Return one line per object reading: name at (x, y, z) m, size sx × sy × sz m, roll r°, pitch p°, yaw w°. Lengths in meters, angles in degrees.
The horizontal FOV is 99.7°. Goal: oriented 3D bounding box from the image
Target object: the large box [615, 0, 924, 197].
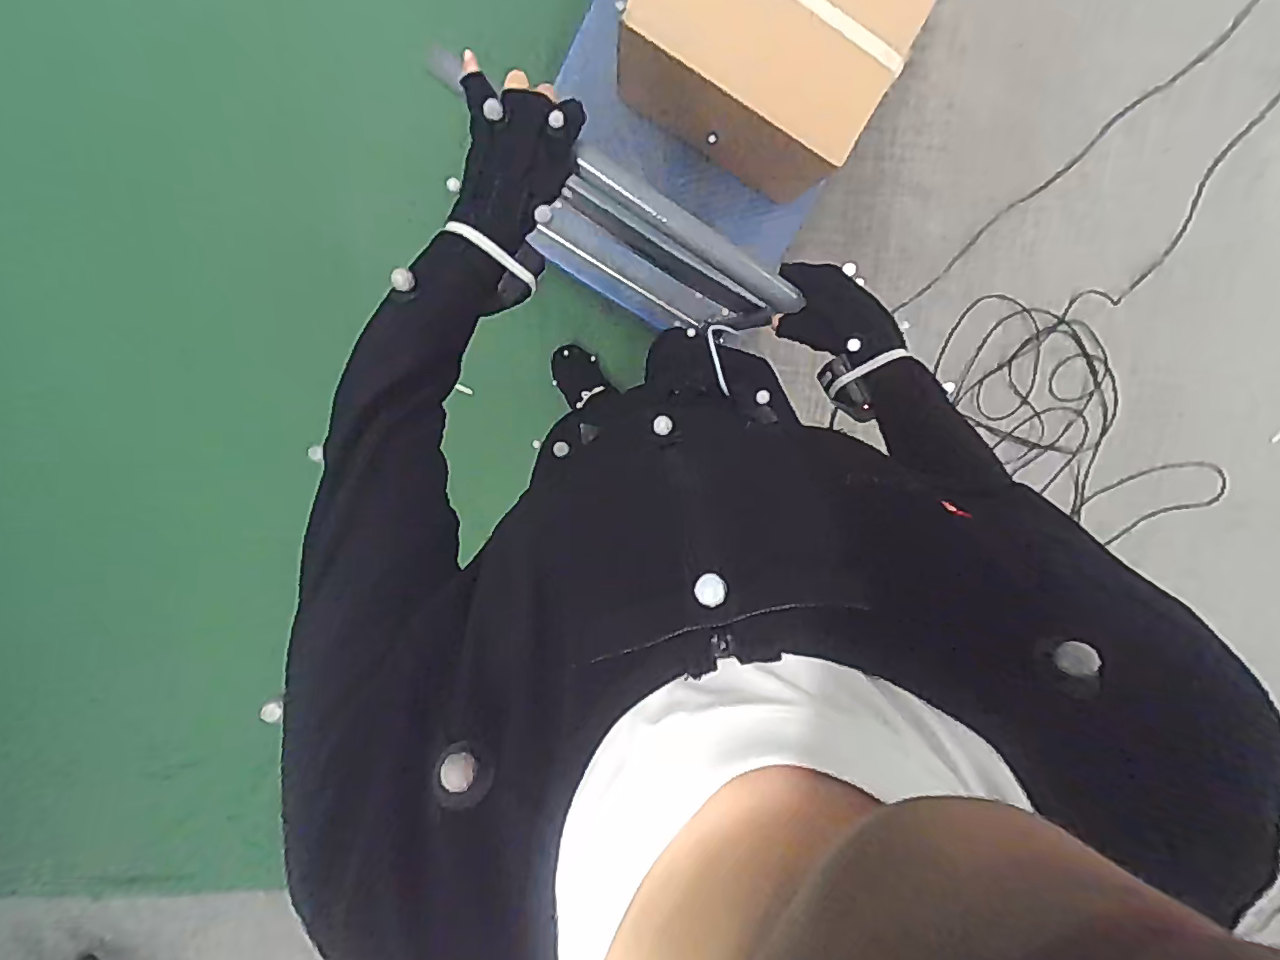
large box at (0.202, -0.766, 0.942) m, size 0.408 × 0.320 × 0.320 m, roll 27°, pitch 103°, yaw -10°
